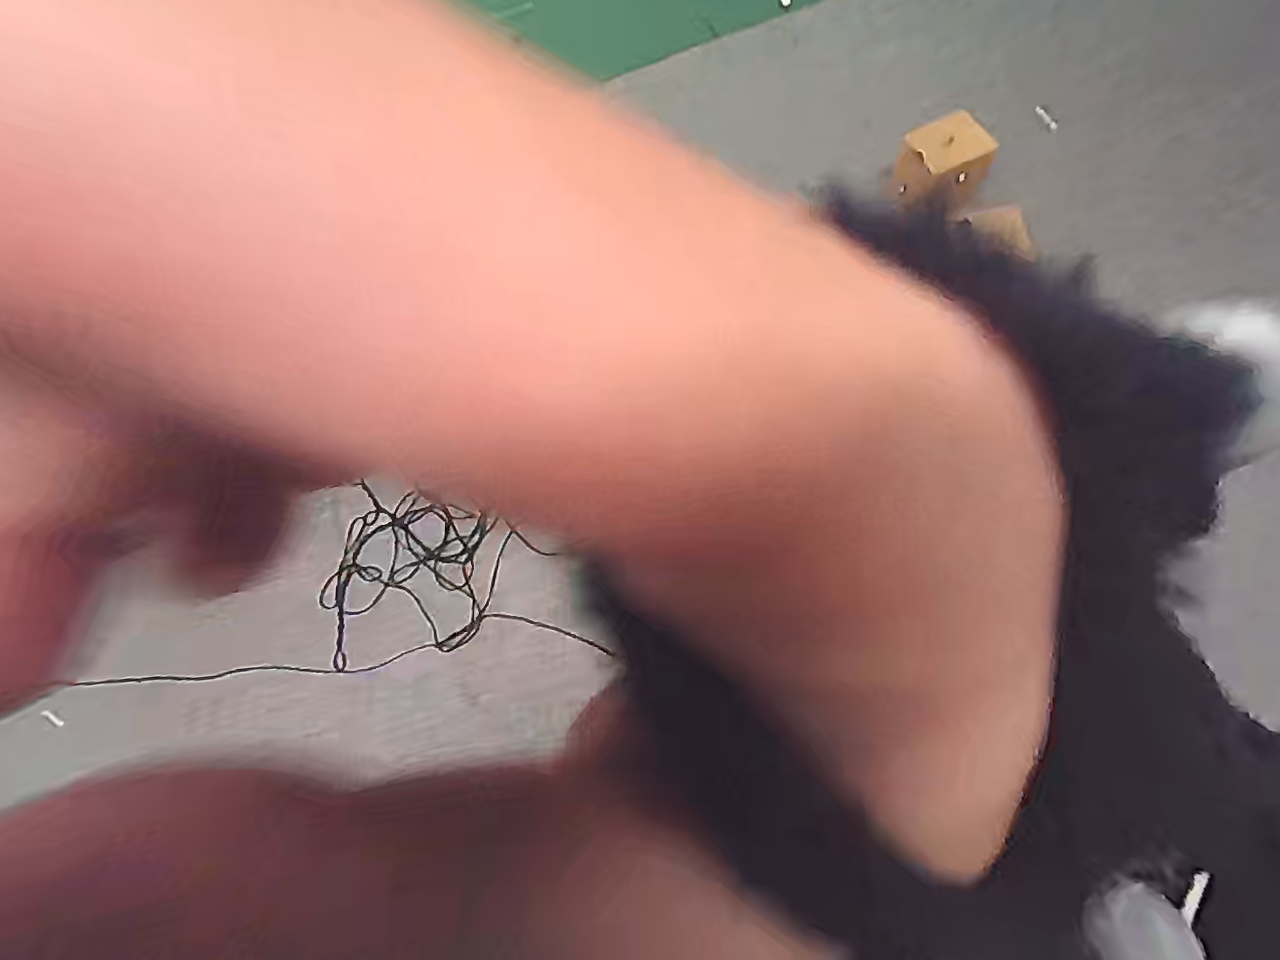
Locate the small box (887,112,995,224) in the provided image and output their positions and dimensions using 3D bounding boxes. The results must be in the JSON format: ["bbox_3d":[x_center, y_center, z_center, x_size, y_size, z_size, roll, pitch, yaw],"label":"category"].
[{"bbox_3d":[0.806,-0.842,1.469,0.179,0.176,0.168,-23,66,2],"label":"small box"}]
